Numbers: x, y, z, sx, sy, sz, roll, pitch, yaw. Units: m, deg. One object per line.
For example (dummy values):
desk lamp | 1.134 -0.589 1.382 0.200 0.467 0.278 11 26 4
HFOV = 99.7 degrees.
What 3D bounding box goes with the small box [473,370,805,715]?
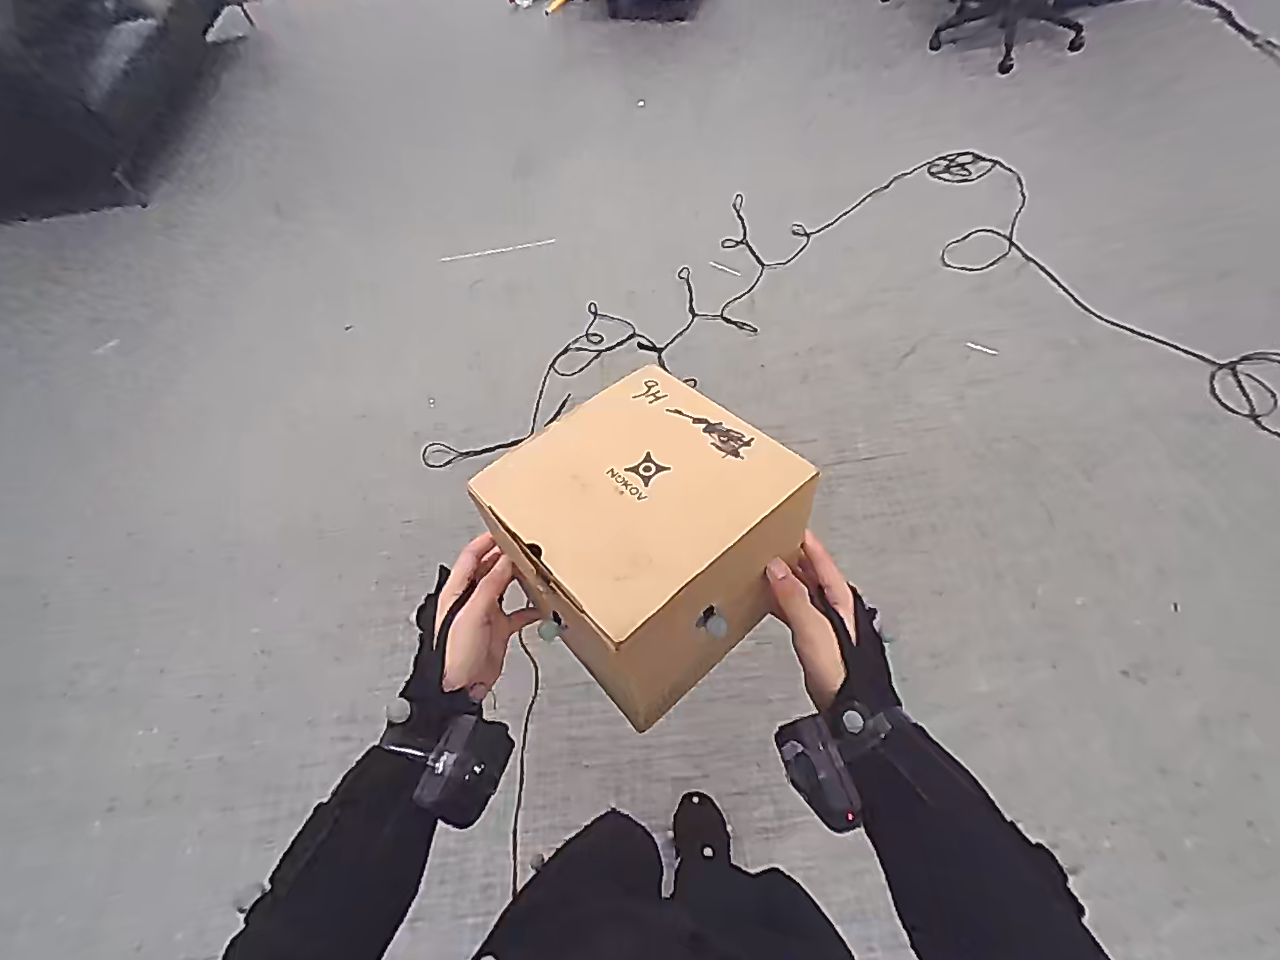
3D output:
small box | 0.005 0.051 0.432 0.179 0.176 0.168 -37 56 -21
